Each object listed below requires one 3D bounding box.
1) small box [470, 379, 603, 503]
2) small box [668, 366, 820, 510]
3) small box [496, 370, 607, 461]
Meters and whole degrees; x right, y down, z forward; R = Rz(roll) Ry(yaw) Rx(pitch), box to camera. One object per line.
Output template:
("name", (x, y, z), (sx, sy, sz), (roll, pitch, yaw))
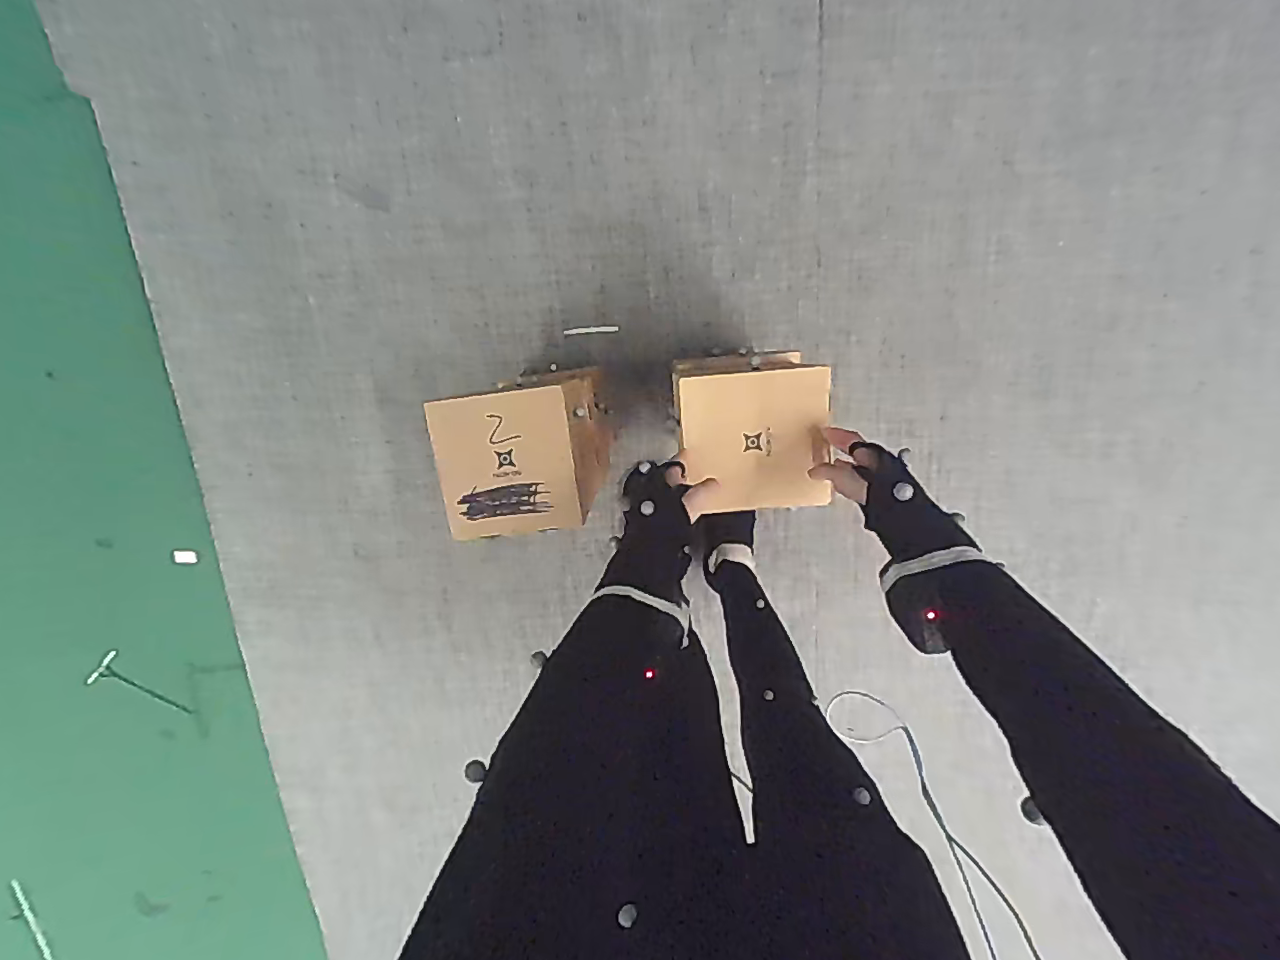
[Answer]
("small box", (-0.158, -0.072, 0.897), (0.179, 0.176, 0.168), (-7, 103, 3))
("small box", (0.129, -0.063, 0.727), (0.179, 0.176, 0.168), (-5, 103, 0))
("small box", (-0.160, -0.120, 1.053), (0.179, 0.176, 0.168), (-8, 103, 3))
